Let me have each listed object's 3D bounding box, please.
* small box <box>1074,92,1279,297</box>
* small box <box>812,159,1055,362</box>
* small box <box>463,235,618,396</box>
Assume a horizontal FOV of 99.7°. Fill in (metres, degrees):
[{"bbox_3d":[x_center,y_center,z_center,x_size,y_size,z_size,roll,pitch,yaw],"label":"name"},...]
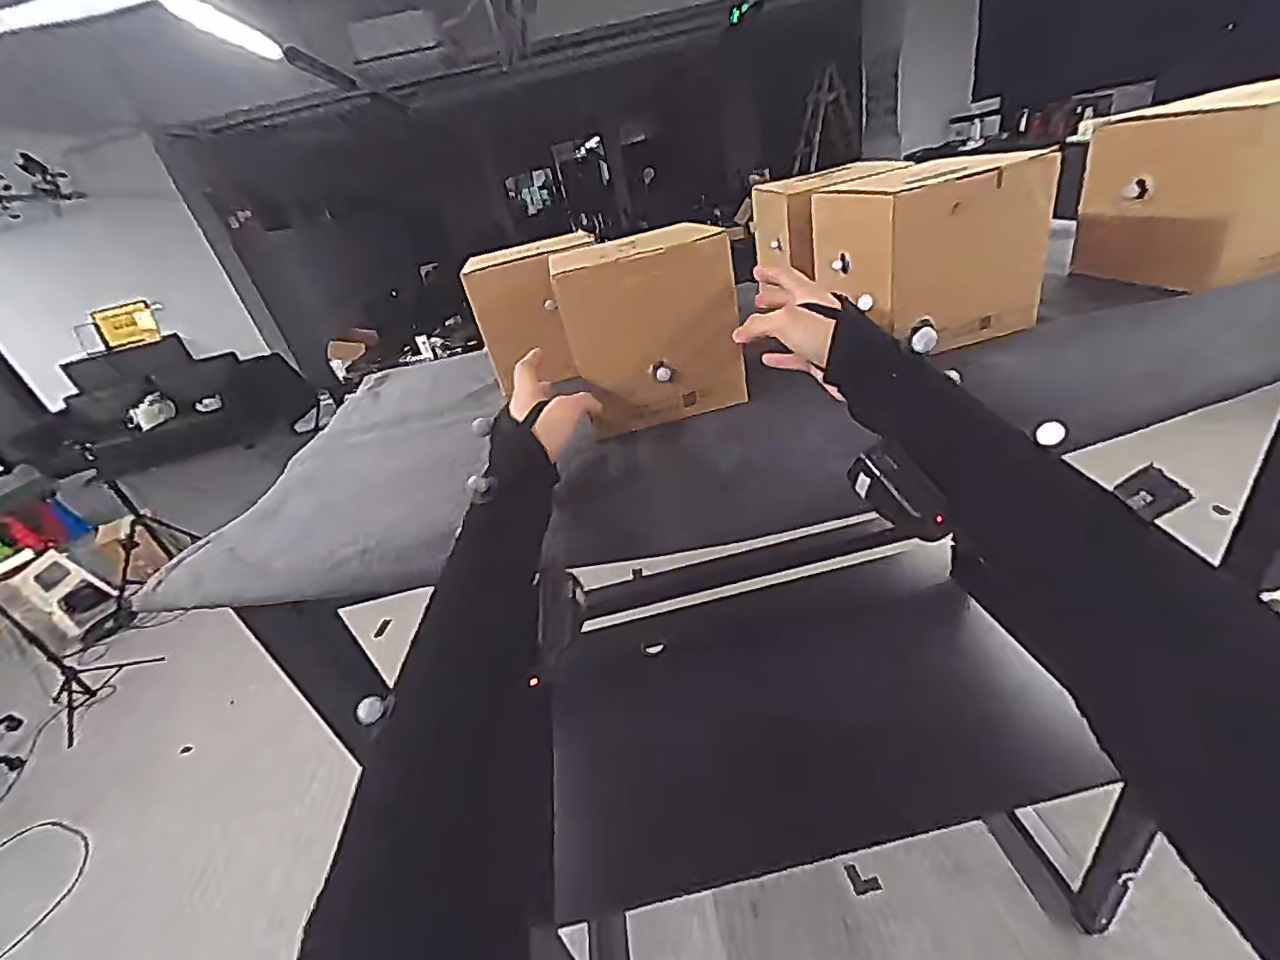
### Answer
[{"bbox_3d":[0.625,-0.308,0.589,0.168,0.176,0.179,-15,29,-1],"label":"small box"},{"bbox_3d":[0.312,-0.245,0.610,0.168,0.176,0.179,-15,29,-3],"label":"small box"},{"bbox_3d":[-0.135,-0.240,0.780,0.179,0.176,0.168,-15,30,-4],"label":"small box"}]
